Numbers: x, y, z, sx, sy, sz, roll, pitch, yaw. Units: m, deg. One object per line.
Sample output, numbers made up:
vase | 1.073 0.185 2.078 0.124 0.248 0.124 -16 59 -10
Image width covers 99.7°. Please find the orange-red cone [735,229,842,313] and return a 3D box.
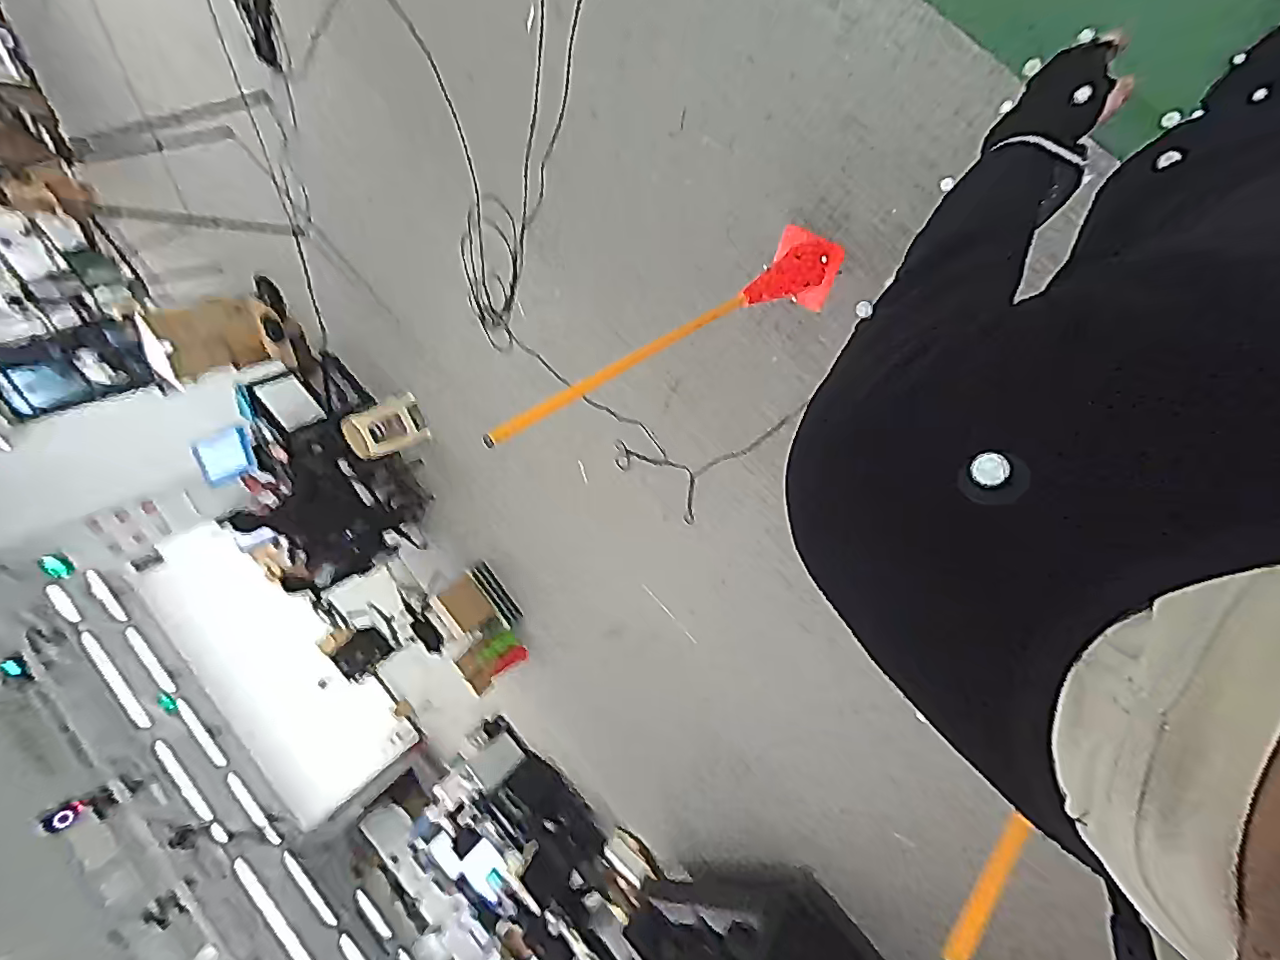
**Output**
orange-red cone | 0.378 -0.555 1.530 0.199 0.360 0.198 39 139 20
